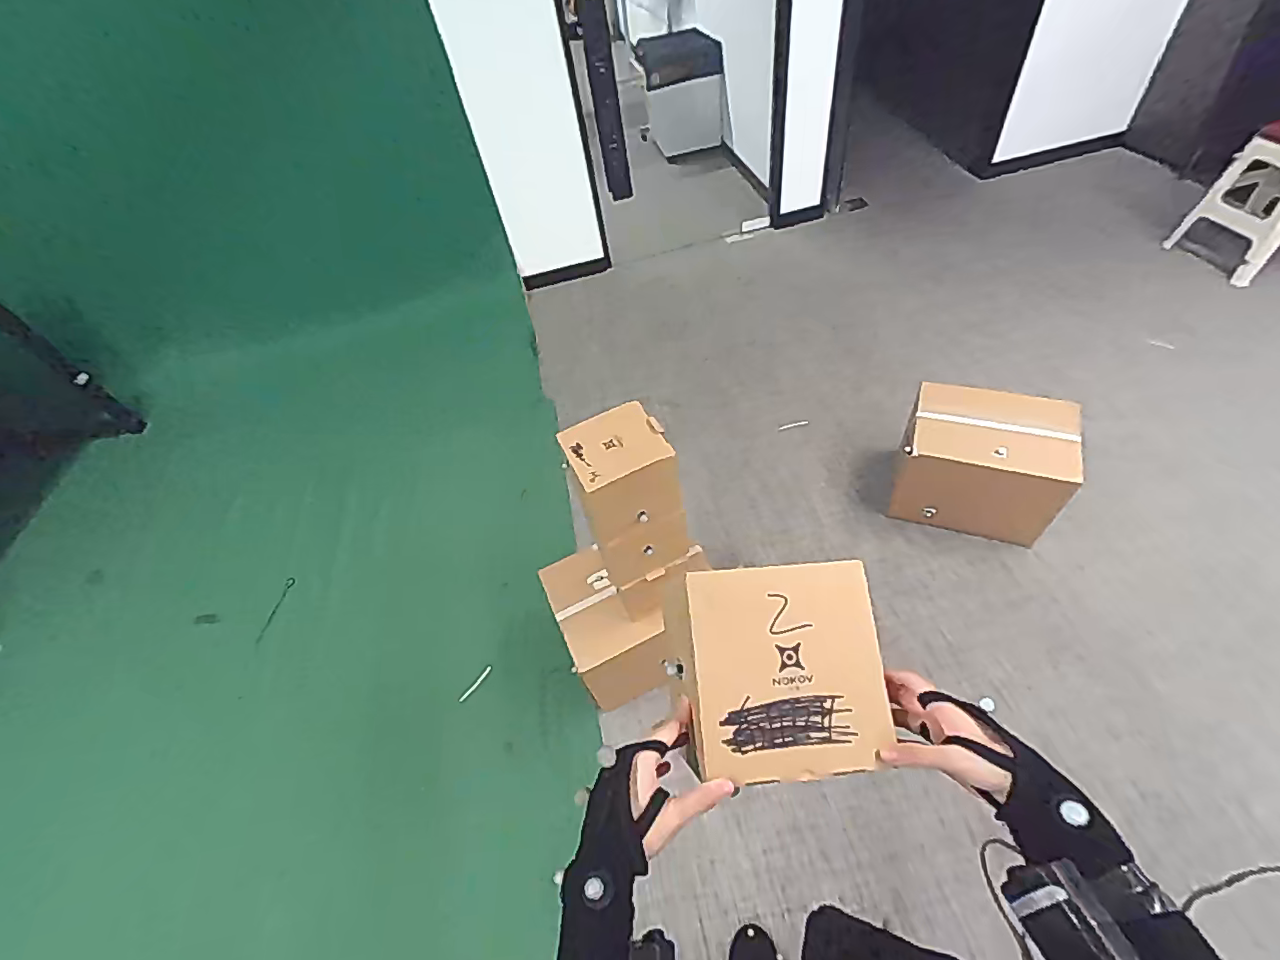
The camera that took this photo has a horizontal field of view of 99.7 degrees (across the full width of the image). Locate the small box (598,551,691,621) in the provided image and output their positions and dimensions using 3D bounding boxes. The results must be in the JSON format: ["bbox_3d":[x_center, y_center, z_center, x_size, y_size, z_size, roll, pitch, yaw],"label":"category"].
[{"bbox_3d":[0.011,0.210,1.284,0.168,0.176,0.179,-24,50,-10],"label":"small box"}]

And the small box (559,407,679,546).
[{"bbox_3d":[-0.036,-0.004,1.041,0.179,0.176,0.168,-23,50,-11],"label":"small box"}]

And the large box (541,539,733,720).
[{"bbox_3d":[0.001,0.376,1.469,0.408,0.320,0.320,-25,49,-10],"label":"large box"}]

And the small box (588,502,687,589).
[{"bbox_3d":[-0.010,0.102,1.163,0.179,0.176,0.168,-25,50,-11],"label":"small box"}]
